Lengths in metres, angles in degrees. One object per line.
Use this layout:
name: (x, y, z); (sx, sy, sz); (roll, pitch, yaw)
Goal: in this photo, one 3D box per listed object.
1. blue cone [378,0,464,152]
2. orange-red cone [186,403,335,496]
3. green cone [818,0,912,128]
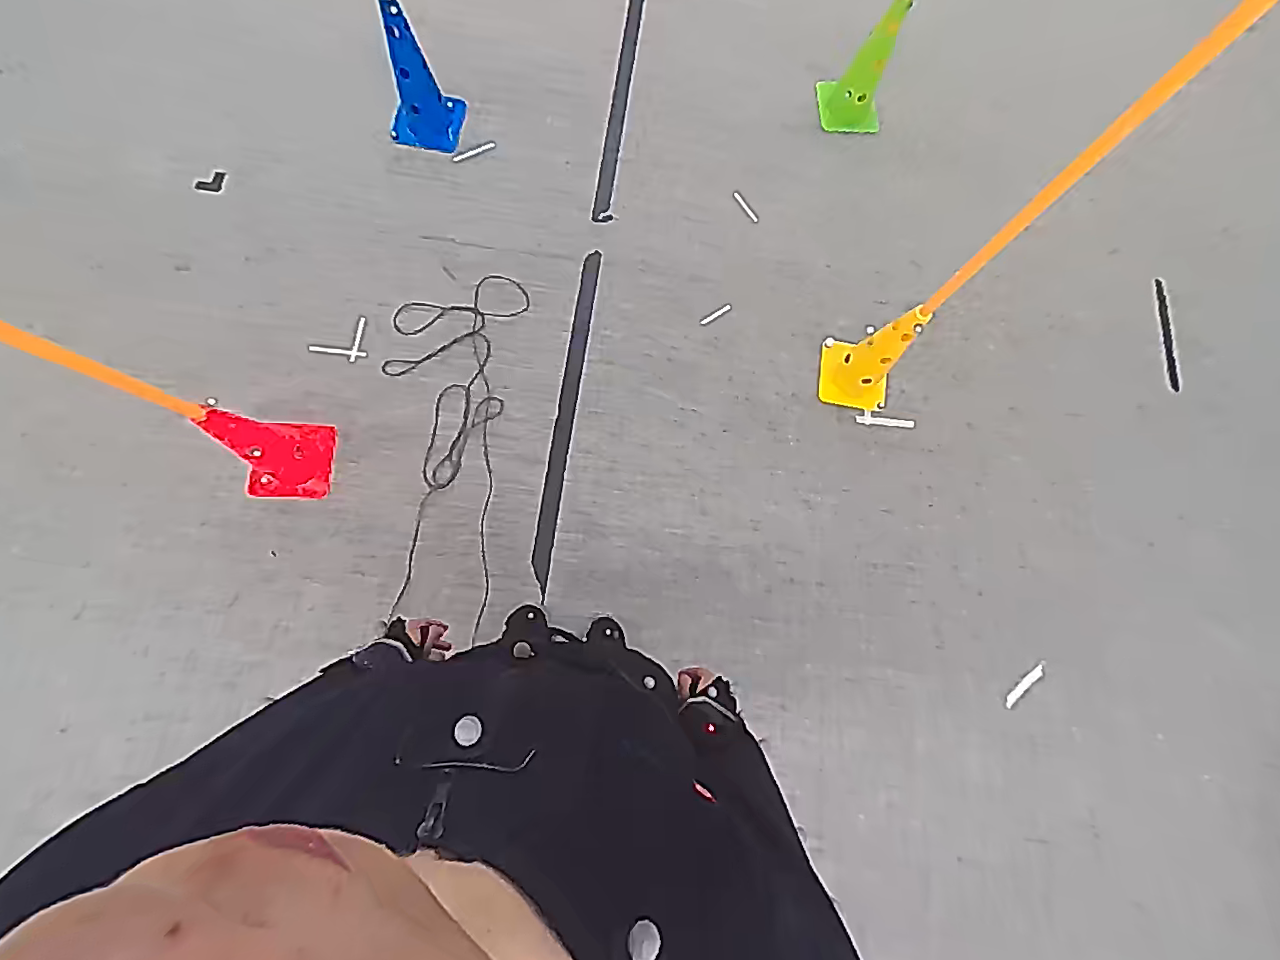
blue cone: (-0.637, -1.142, 1.507); (0.193, 0.380, 0.192); (10, 77, -2)
orange-red cone: (-0.882, -0.096, 1.225); (0.199, 0.360, 0.198); (3, 77, -5)
green cone: (0.712, -1.300, 1.642); (0.200, 0.368, 0.202); (-3, 79, -5)
